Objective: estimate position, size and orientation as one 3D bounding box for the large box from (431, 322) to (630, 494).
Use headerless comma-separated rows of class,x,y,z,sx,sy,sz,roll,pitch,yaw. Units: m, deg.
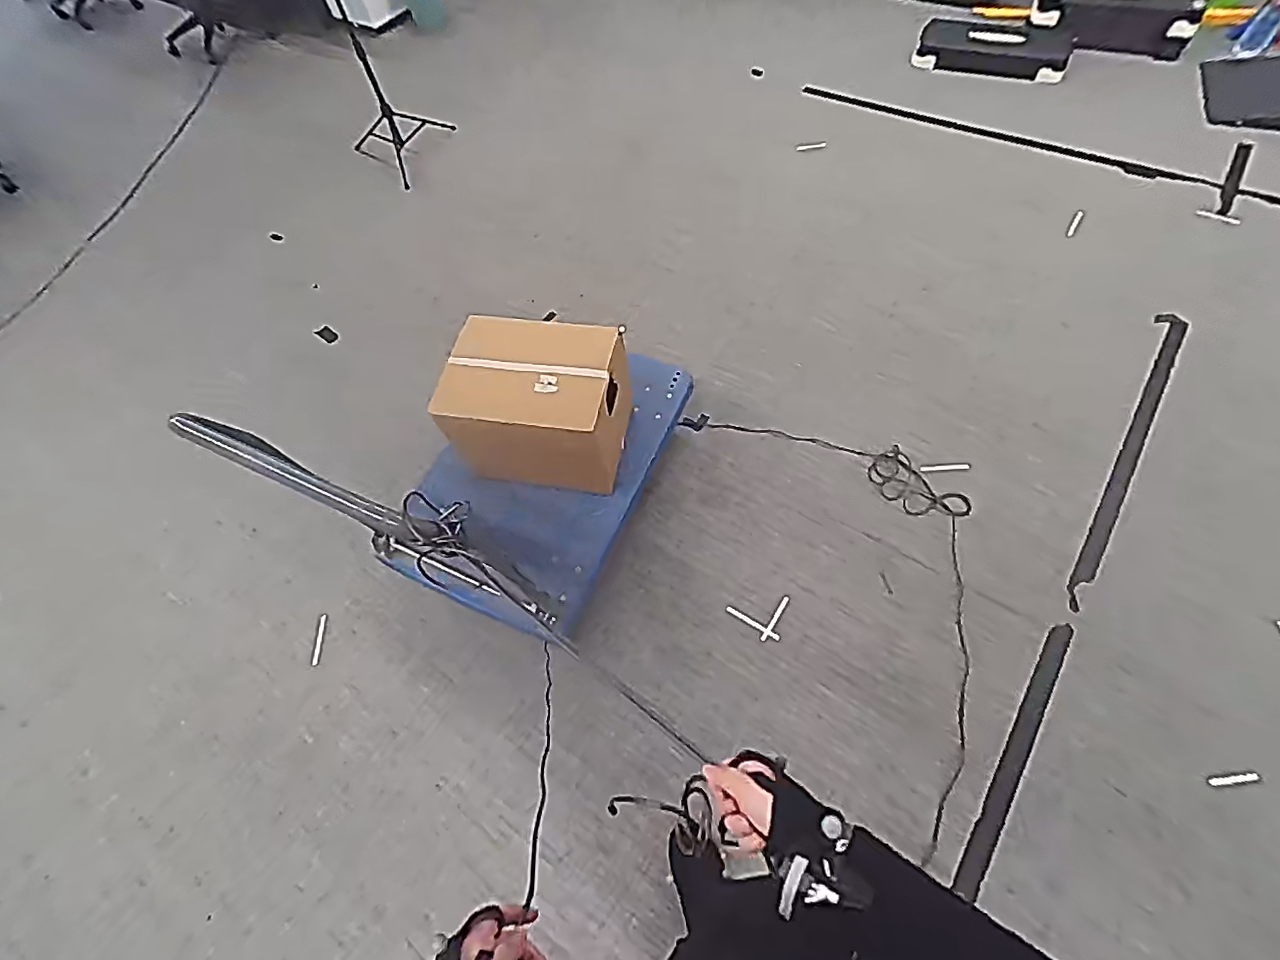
large box,-0.258,-0.182,1.419,0.408,0.320,0.320,7,63,8
